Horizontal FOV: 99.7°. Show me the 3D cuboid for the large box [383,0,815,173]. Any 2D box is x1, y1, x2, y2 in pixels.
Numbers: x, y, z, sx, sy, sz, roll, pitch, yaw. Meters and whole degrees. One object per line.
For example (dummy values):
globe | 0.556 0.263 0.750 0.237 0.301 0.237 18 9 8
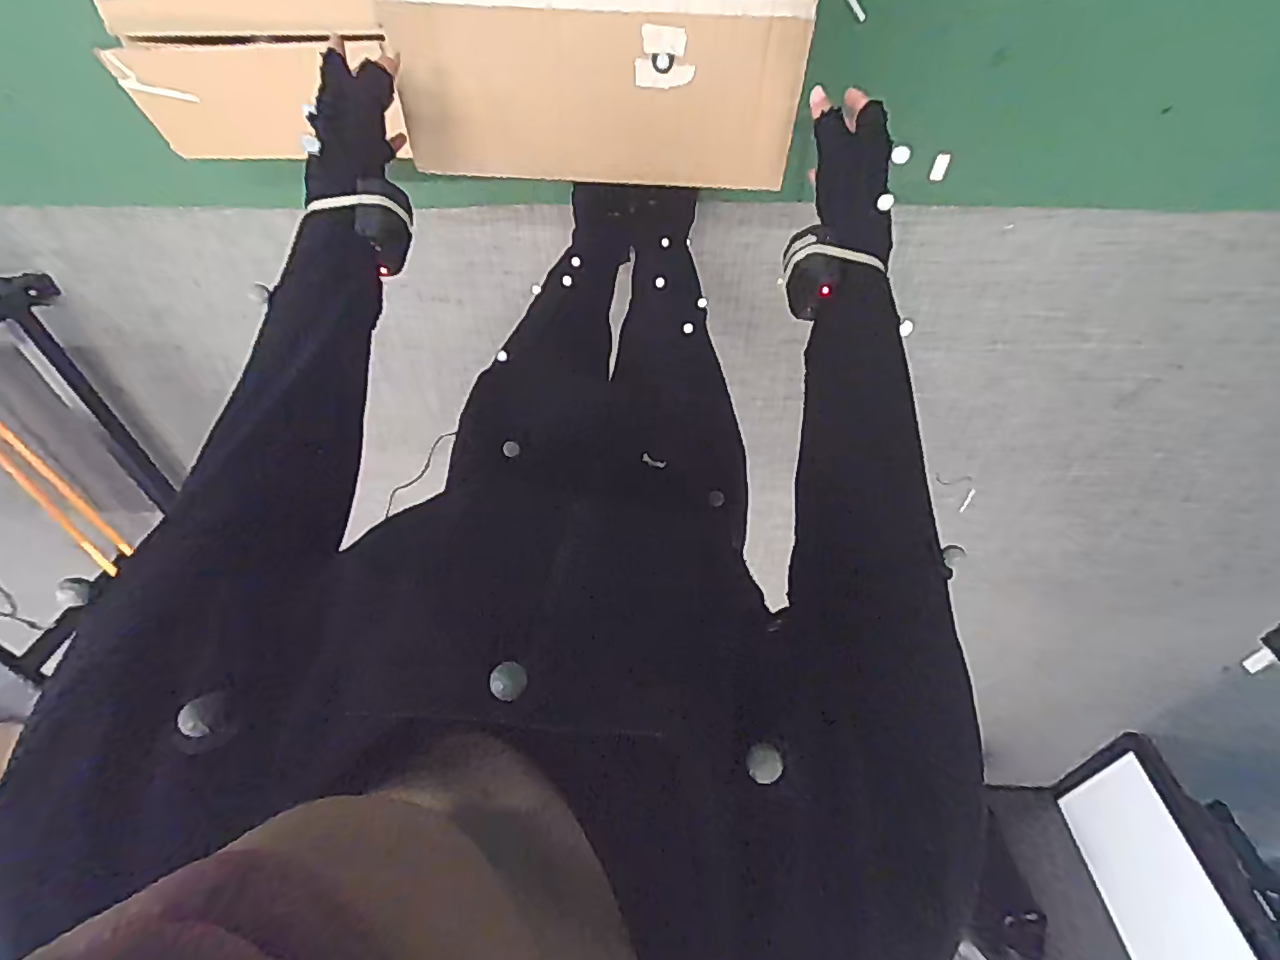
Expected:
large box | -0.037 -0.551 0.592 0.408 0.320 0.320 2 134 0
